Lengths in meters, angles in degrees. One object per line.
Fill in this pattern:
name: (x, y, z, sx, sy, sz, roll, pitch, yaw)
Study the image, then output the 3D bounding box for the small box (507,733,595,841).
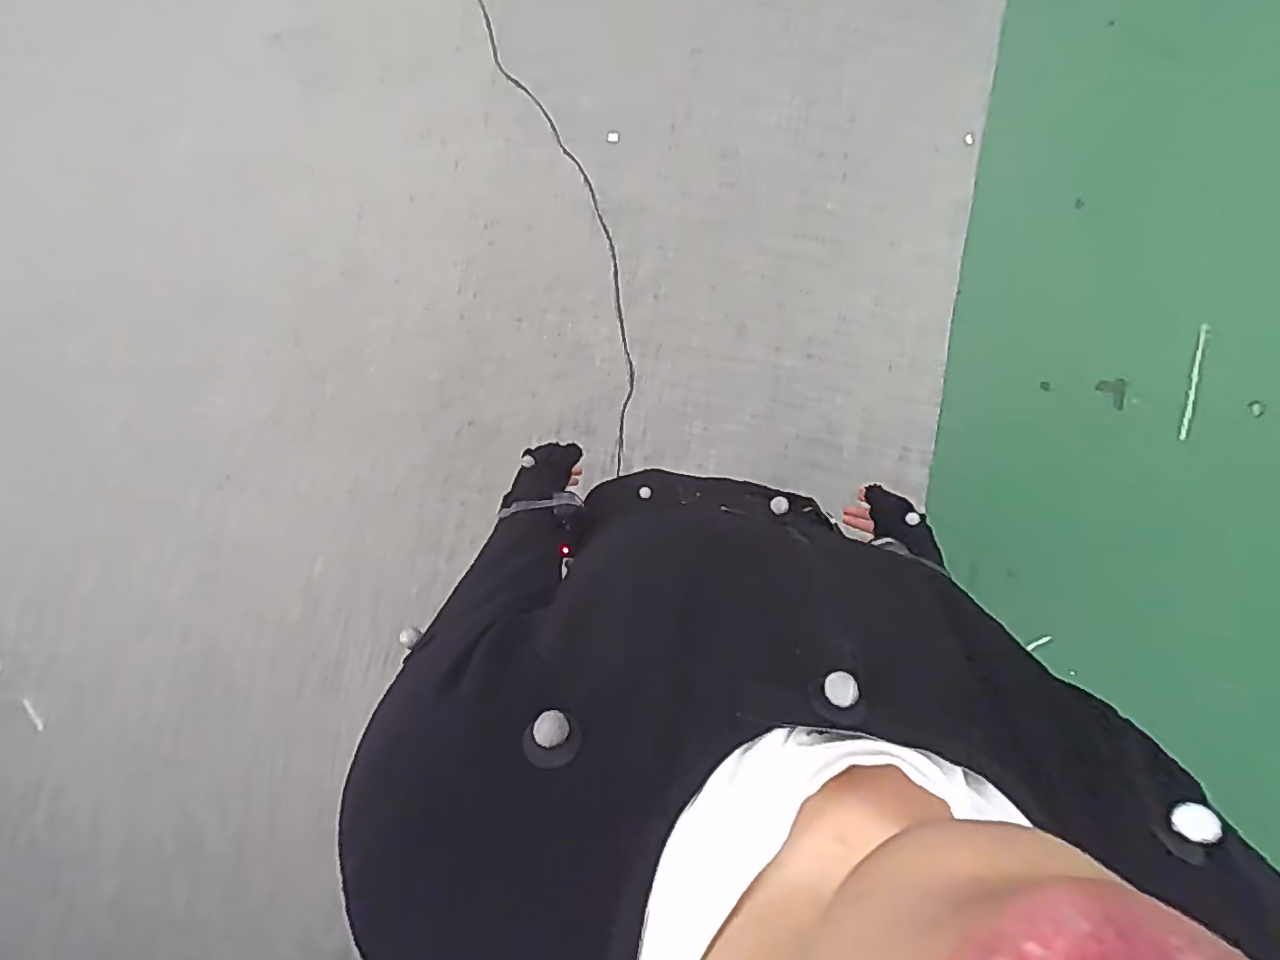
small box: (-0.220, 0.776, 1.387, 0.179, 0.176, 0.168, 12, 90, 0)
